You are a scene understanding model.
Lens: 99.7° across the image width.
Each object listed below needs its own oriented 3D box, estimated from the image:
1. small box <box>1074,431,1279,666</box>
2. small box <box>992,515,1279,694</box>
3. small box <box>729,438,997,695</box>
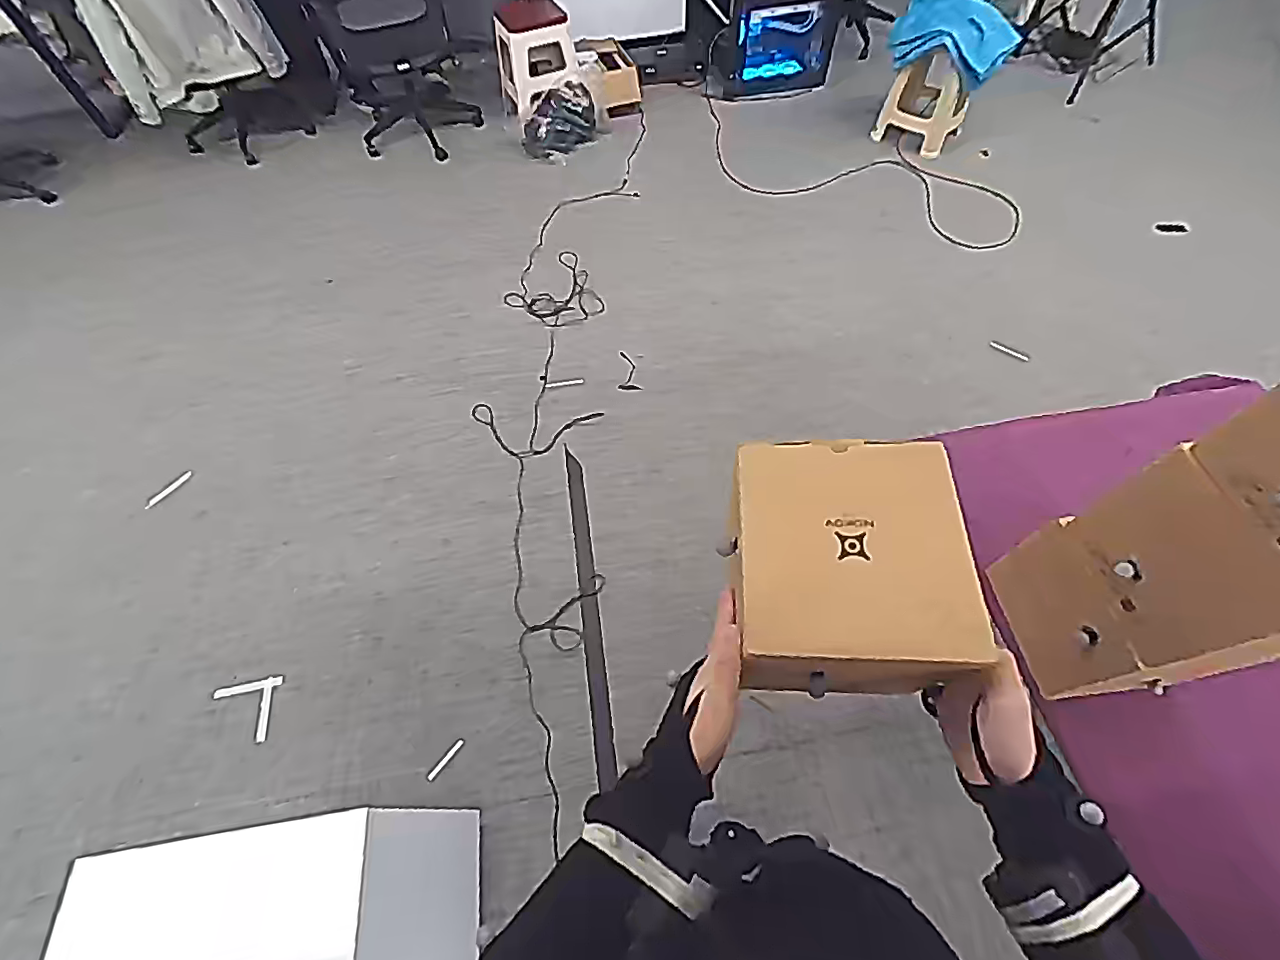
[{"bbox_3d":[0.576,0.067,0.506,0.179,0.176,0.168,-7,59,-1],"label":"small box"},{"bbox_3d":[0.573,0.151,0.648,0.168,0.176,0.179,-6,58,-1],"label":"small box"},{"bbox_3d":[0.164,0.083,0.468,0.168,0.176,0.179,-1,59,6],"label":"small box"}]
